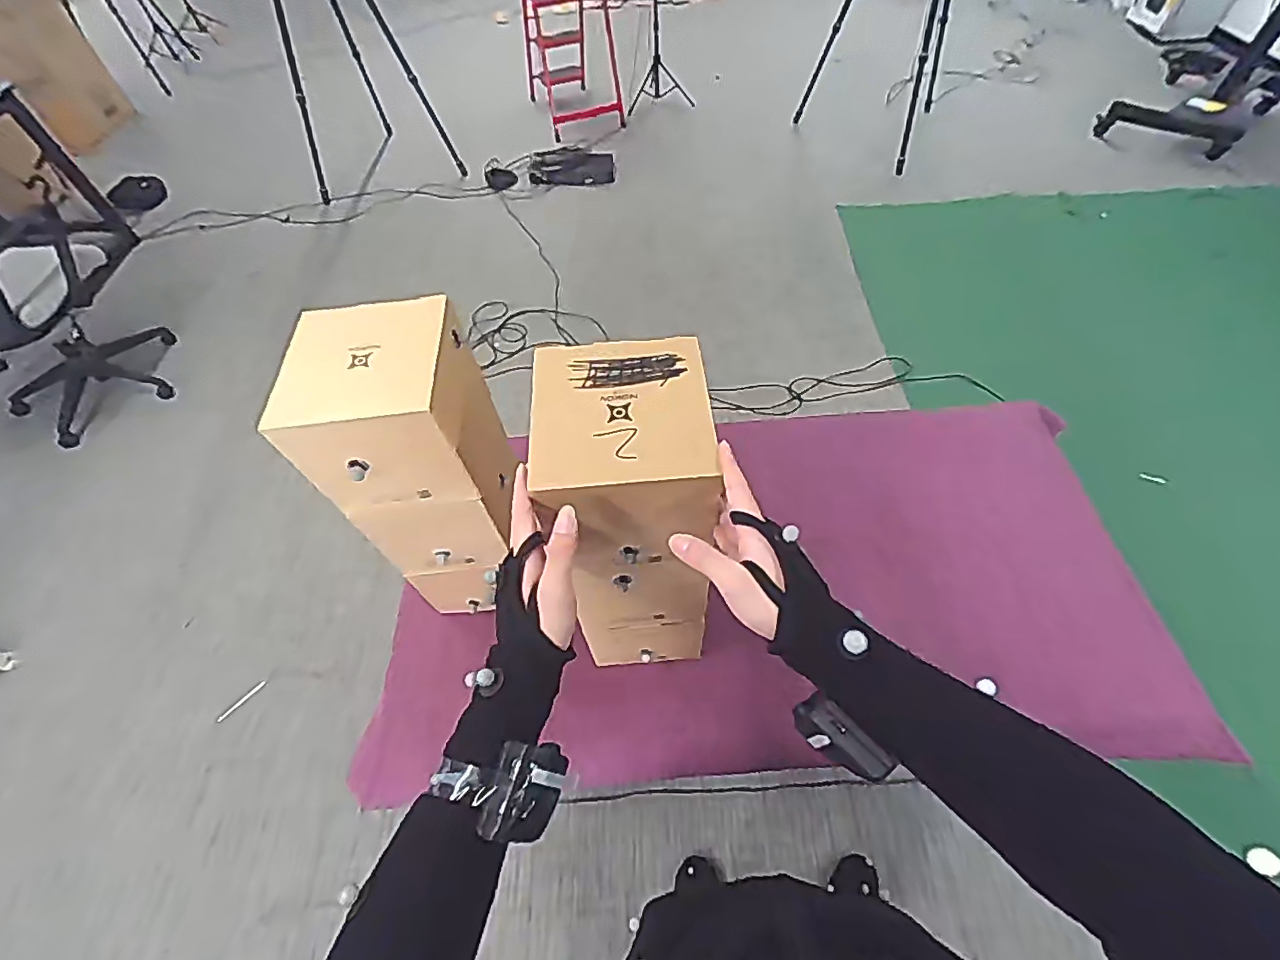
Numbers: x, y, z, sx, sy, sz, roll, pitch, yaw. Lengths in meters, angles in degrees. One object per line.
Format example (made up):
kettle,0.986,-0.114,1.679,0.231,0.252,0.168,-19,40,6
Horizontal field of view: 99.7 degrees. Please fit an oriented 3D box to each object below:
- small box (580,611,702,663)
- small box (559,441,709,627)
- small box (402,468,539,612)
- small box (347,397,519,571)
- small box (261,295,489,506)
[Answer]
small box,0.000,0.167,0.833,0.168,0.176,0.179,-5,56,1
small box,-0.008,0.072,0.699,0.168,0.176,0.179,-5,55,1
small box,-0.266,0.101,0.893,0.168,0.176,0.179,-6,56,0
small box,-0.273,0.009,0.759,0.168,0.176,0.179,-6,57,0
small box,-0.282,-0.082,0.624,0.168,0.176,0.179,-7,55,0
